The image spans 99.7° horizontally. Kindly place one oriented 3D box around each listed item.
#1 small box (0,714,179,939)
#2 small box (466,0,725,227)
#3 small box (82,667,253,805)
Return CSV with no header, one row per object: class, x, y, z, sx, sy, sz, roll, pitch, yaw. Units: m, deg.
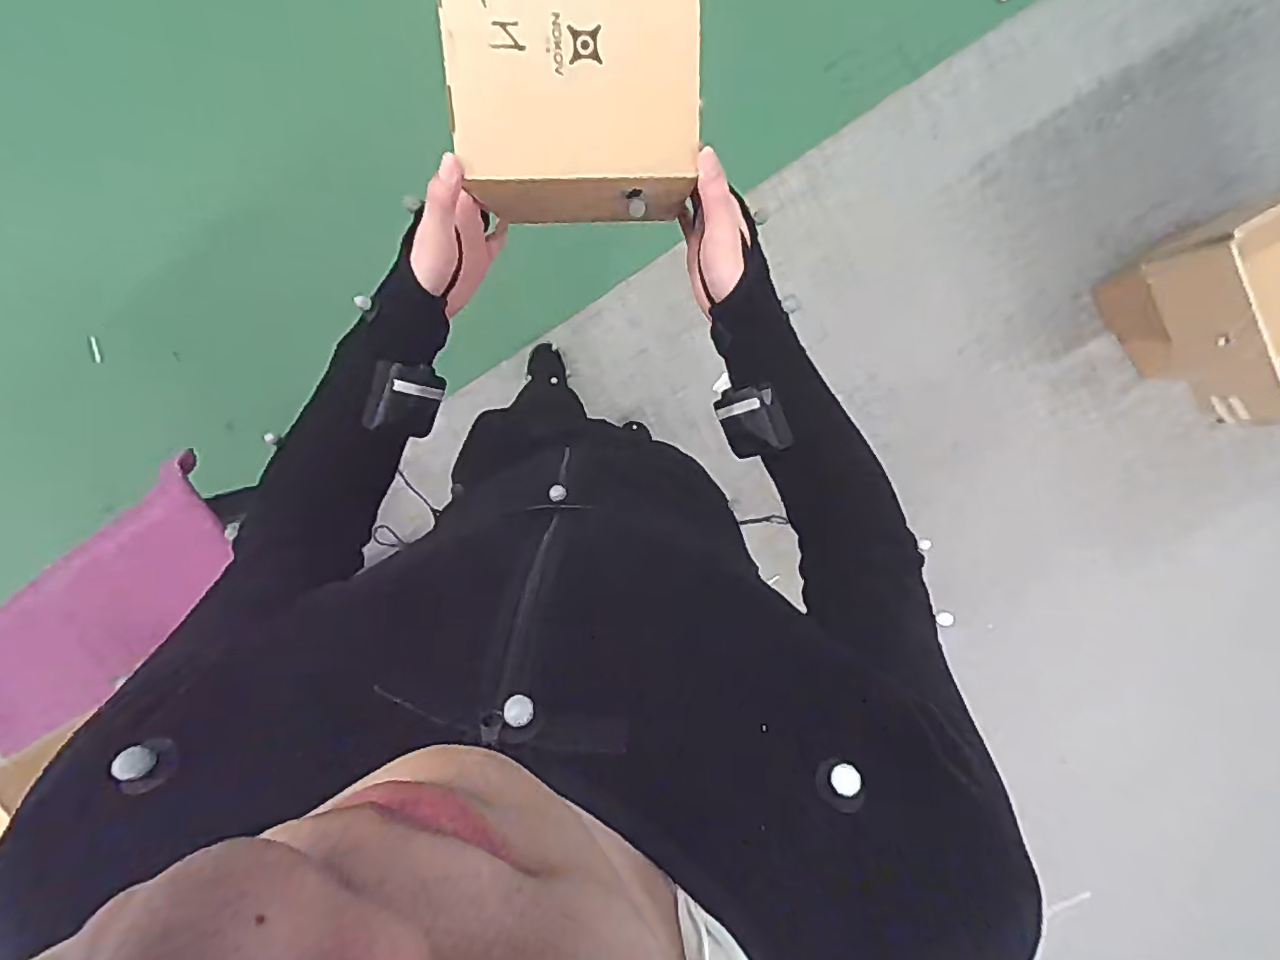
small box,-0.799,0.462,0.735,0.168,0.176,0.179,-28,100,5
small box,-0.034,-0.313,0.445,0.179,0.176,0.168,-1,105,-3
small box,-0.807,0.439,0.897,0.168,0.176,0.179,-29,99,5
